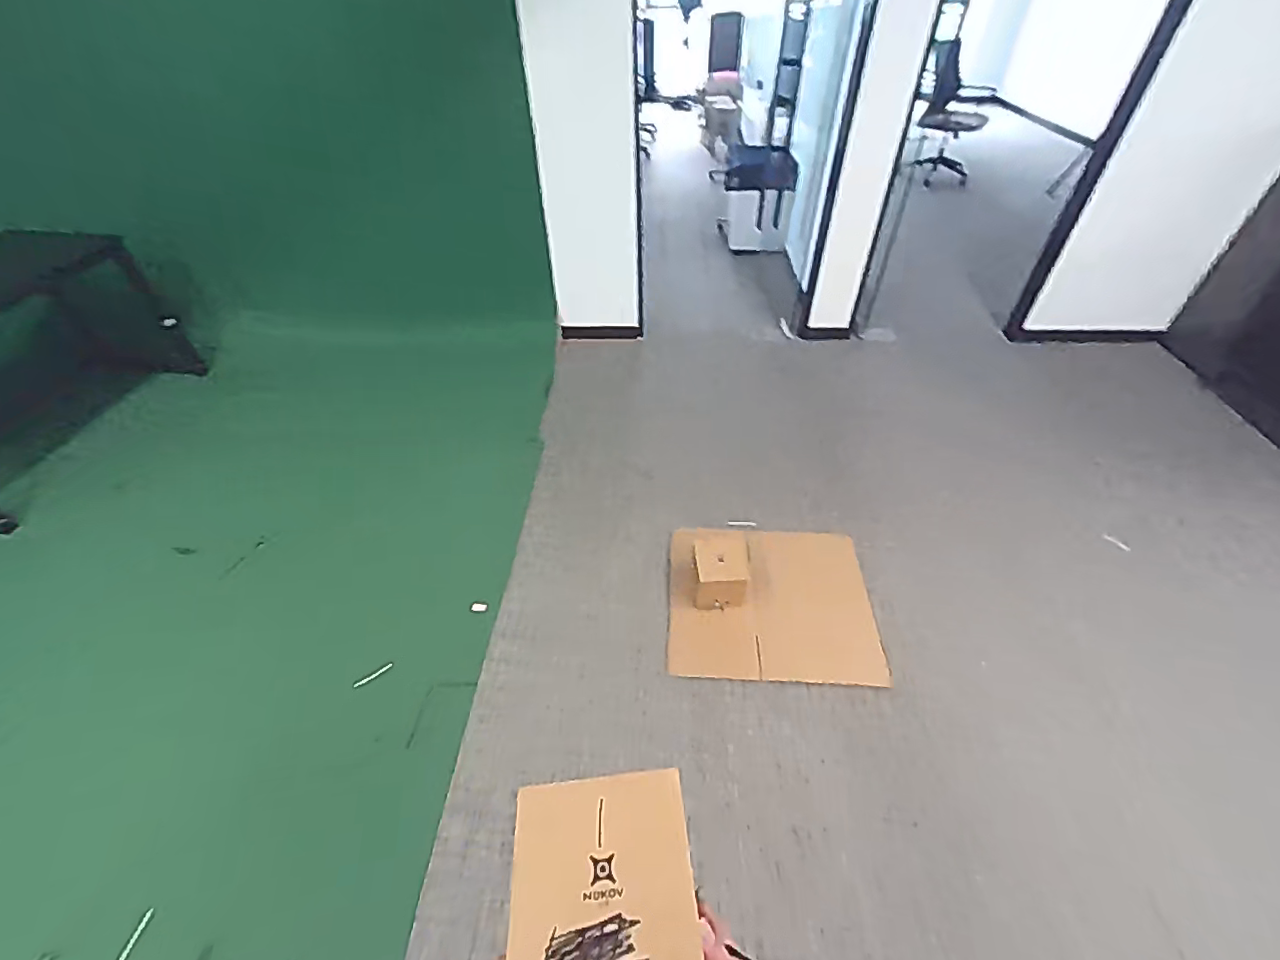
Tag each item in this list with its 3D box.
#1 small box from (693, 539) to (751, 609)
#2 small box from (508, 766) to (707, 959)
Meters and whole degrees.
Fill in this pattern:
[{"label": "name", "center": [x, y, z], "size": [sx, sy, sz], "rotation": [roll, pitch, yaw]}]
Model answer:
[{"label": "small box", "center": [0.274, 0.323, 1.859], "size": [0.168, 0.176, 0.179], "rotation": [-3, 45, -1]}, {"label": "small box", "center": [-0.024, 0.413, 0.534], "size": [0.168, 0.176, 0.179], "rotation": [-6, 41, 0]}]
